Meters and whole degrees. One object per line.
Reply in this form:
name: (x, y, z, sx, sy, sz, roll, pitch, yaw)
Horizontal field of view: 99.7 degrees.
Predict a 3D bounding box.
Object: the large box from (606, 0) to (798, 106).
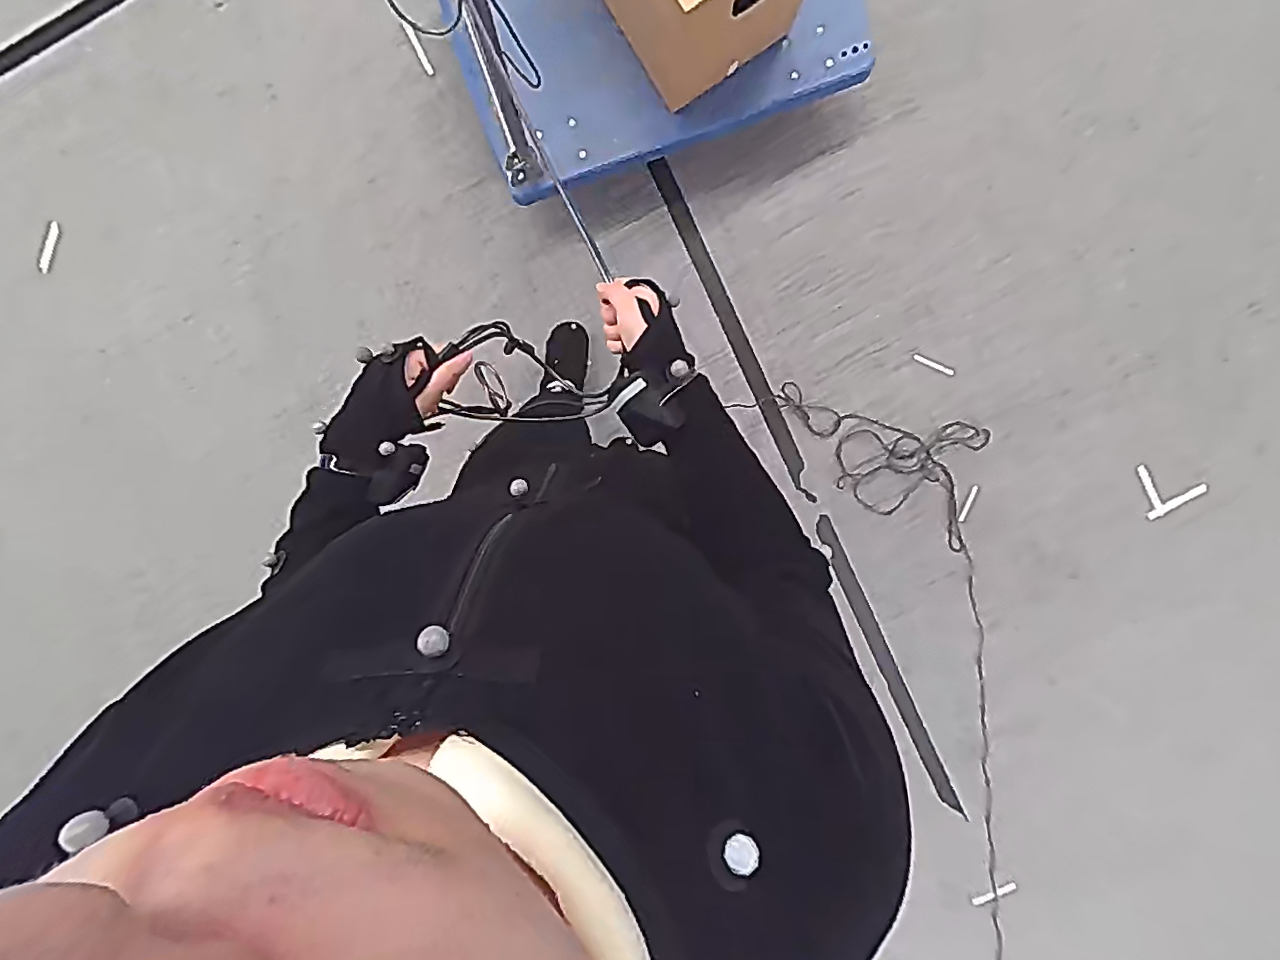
large box: (0.090, -1.043, 1.011, 0.320, 0.320, 0.408, -34, 98, 5)
